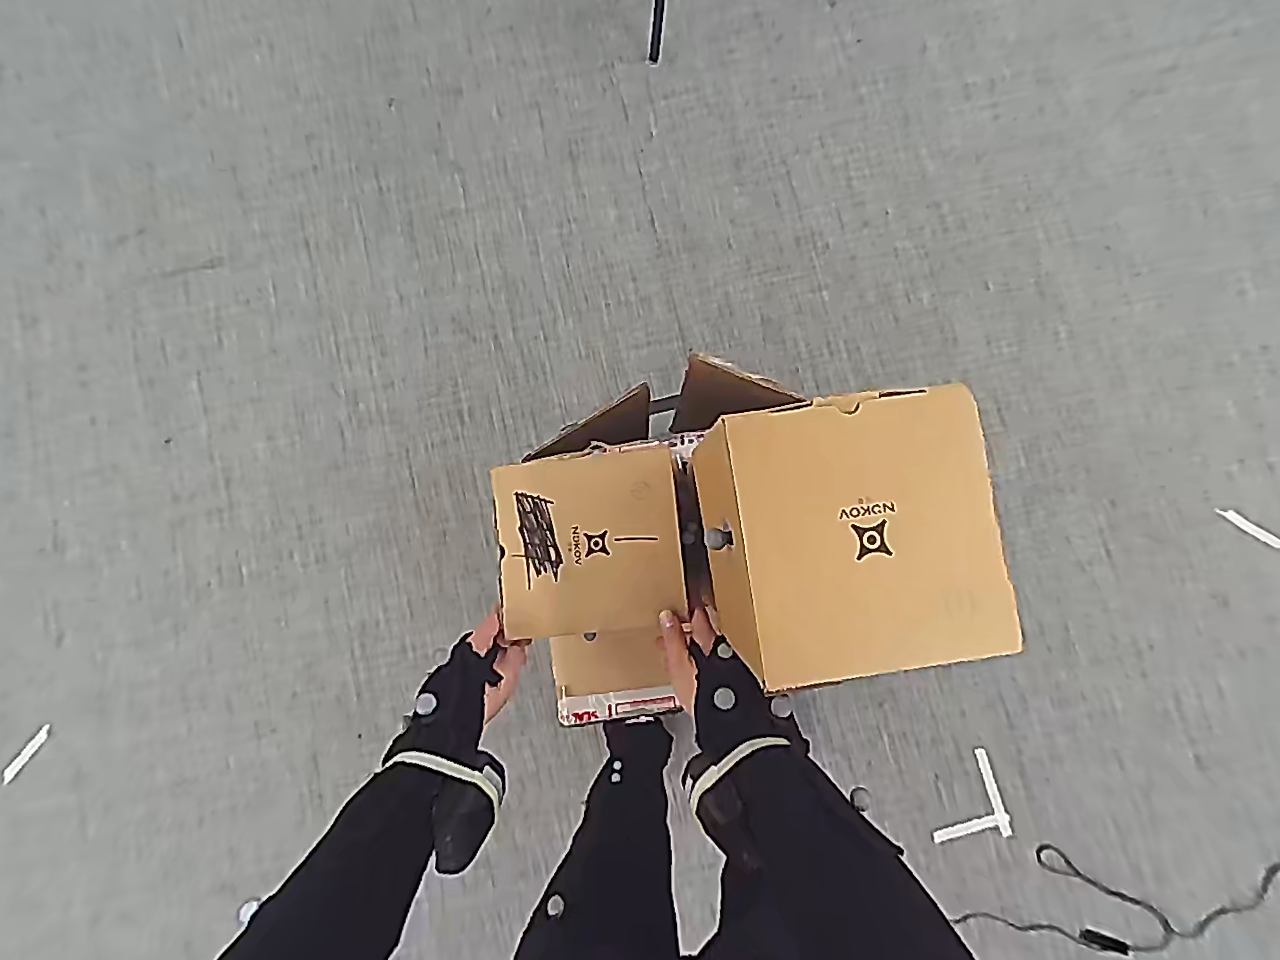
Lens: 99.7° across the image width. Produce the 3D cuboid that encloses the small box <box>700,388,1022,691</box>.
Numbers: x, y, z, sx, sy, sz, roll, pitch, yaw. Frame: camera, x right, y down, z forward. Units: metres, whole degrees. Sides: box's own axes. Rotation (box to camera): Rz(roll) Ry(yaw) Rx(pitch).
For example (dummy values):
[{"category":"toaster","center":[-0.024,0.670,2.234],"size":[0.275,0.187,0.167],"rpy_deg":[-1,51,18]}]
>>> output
[{"category":"small box","center":[0.147,0.042,0.423],"size":[0.168,0.176,0.179],"rpy_deg":[-9,84,-1]}]
